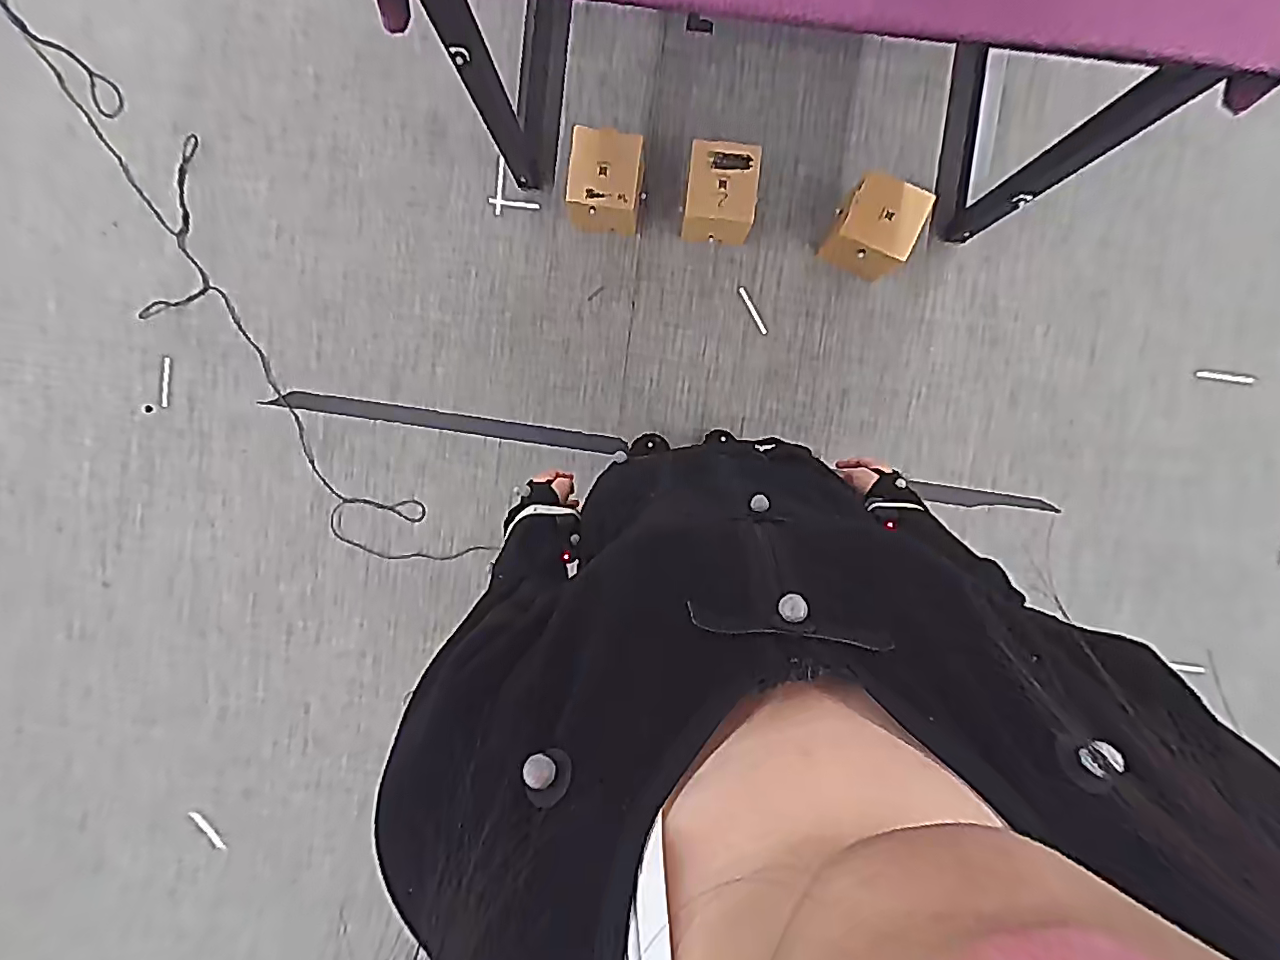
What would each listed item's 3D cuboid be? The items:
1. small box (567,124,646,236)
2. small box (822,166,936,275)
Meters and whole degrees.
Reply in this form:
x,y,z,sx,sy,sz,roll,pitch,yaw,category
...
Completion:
x,y,z,sx,sy,sz,roll,pitch,yaw,category
-0.080,-0.742,1.351,0.168,0.176,0.179,9,94,0,small box
0.585,-0.633,1.347,0.179,0.176,0.168,25,96,1,small box
